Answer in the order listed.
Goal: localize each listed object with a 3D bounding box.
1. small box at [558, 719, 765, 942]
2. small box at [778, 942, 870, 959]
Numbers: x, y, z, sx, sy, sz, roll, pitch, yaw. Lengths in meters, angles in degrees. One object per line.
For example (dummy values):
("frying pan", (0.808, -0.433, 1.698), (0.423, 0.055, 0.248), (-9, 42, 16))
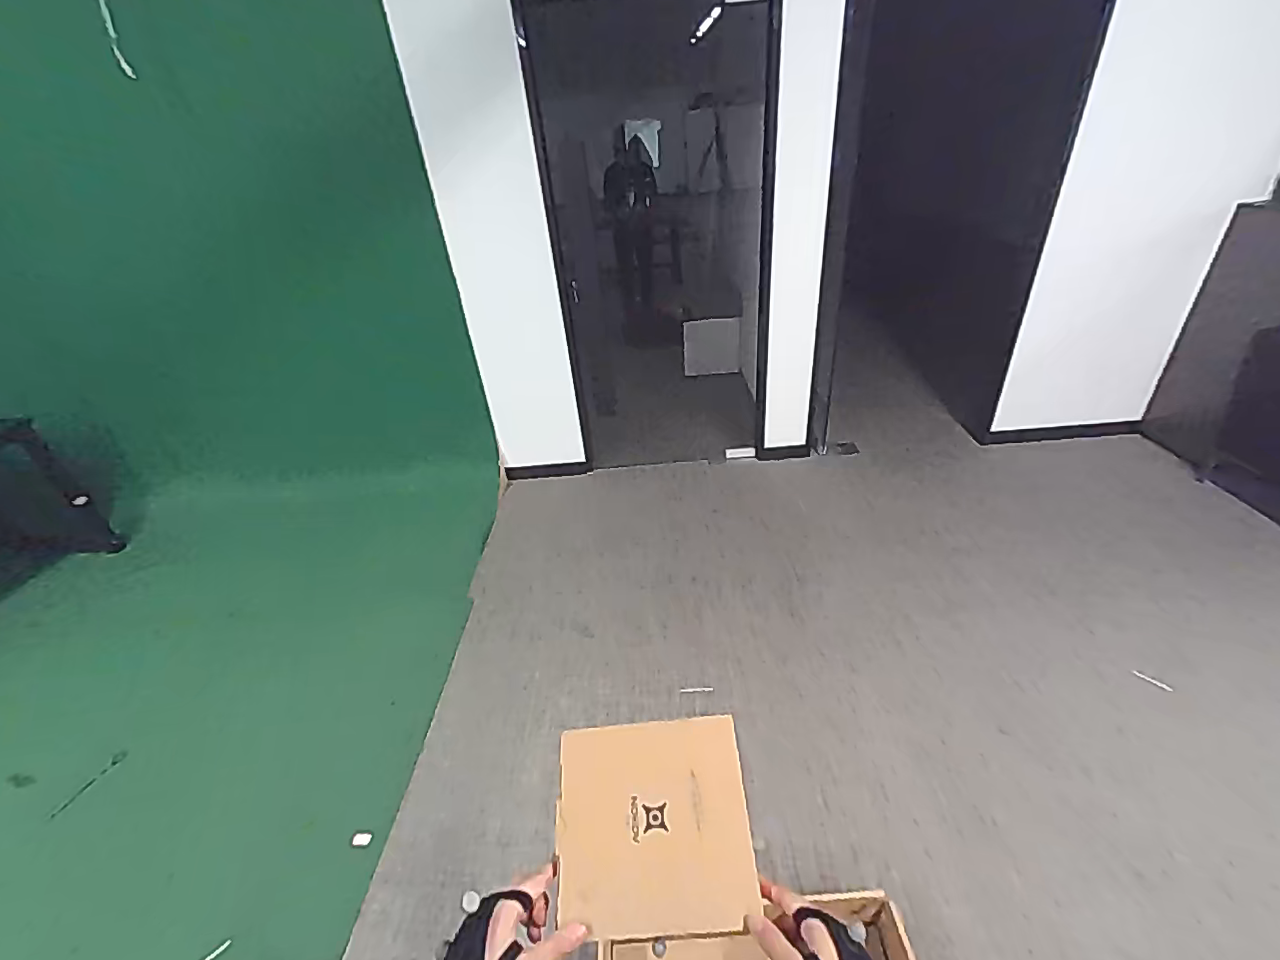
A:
("small box", (0.026, 0.360, 0.552), (0.179, 0.176, 0.168), (-8, 51, 5))
("small box", (0.365, 1.015, 1.015), (0.179, 0.176, 0.168), (-9, 33, -3))
